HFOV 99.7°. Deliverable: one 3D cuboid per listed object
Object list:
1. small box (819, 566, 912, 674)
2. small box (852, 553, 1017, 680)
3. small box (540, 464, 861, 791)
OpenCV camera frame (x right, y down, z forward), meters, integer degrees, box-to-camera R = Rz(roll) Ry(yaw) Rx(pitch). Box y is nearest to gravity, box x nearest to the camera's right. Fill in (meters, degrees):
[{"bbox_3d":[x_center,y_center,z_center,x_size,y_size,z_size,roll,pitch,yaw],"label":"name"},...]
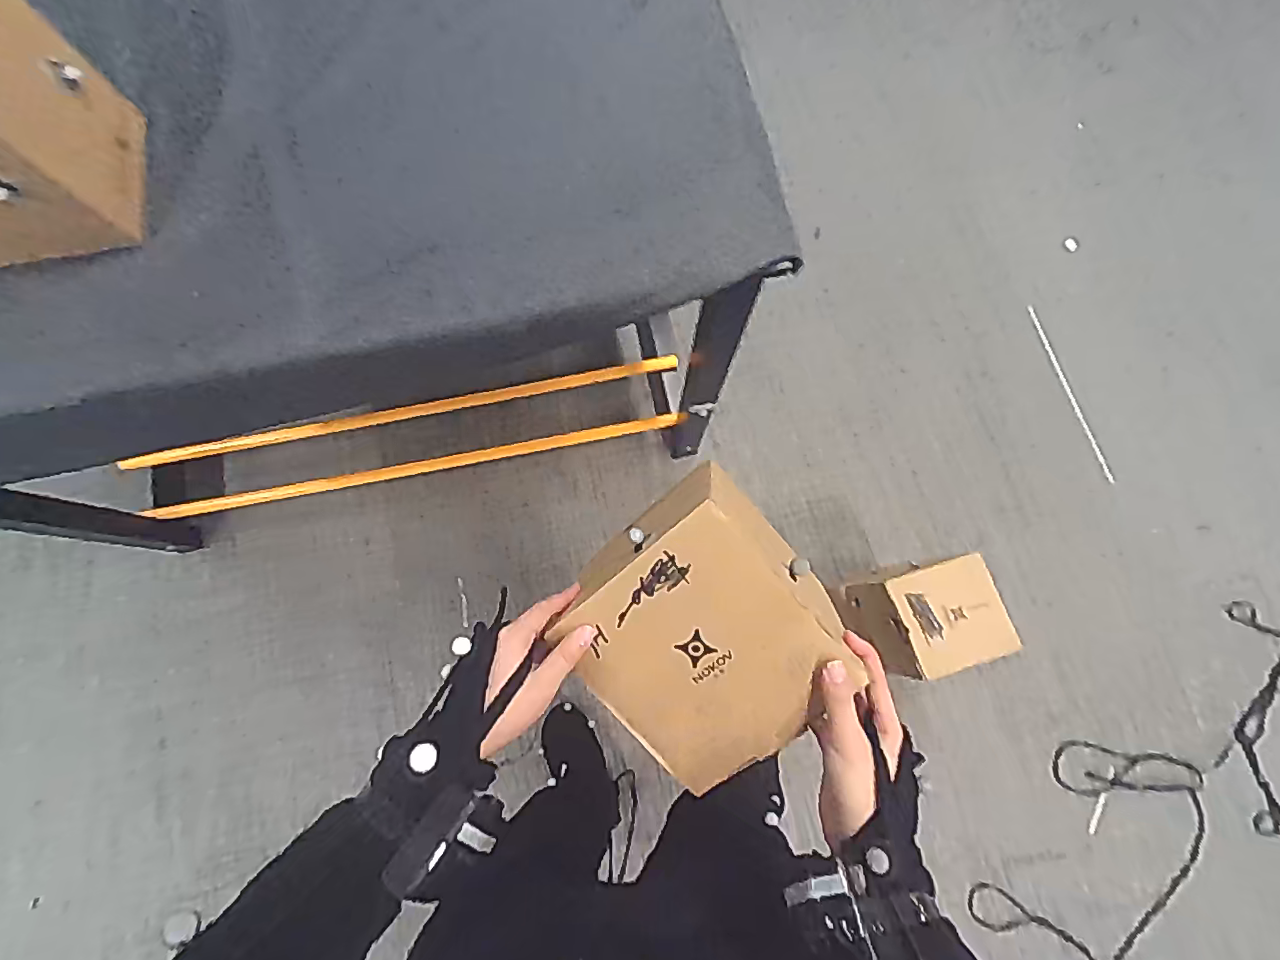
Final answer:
[{"bbox_3d":[0.485,0.285,1.117,0.179,0.176,0.168,-17,76,-5],"label":"small box"},{"bbox_3d":[0.501,0.242,0.959,0.179,0.176,0.168,-16,77,-7],"label":"small box"},{"bbox_3d":[0.050,0.108,0.465,0.168,0.176,0.179,-42,95,12],"label":"small box"}]
